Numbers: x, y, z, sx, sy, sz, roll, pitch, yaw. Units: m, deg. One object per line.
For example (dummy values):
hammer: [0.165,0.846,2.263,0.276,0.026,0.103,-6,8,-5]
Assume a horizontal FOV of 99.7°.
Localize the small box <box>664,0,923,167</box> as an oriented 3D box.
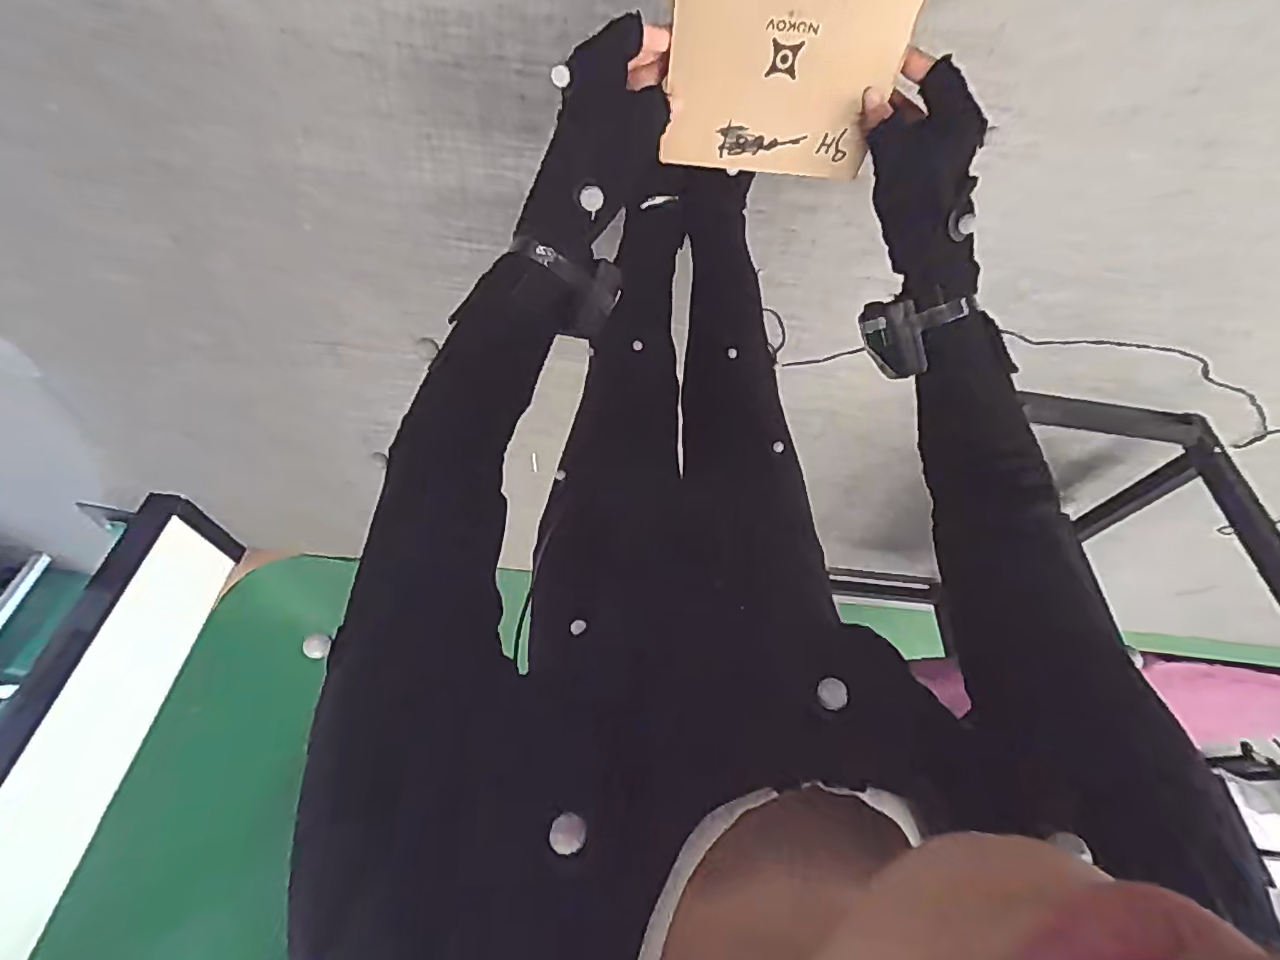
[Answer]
small box: [0.110,-0.381,0.419,0.168,0.176,0.179,5,147,-2]
